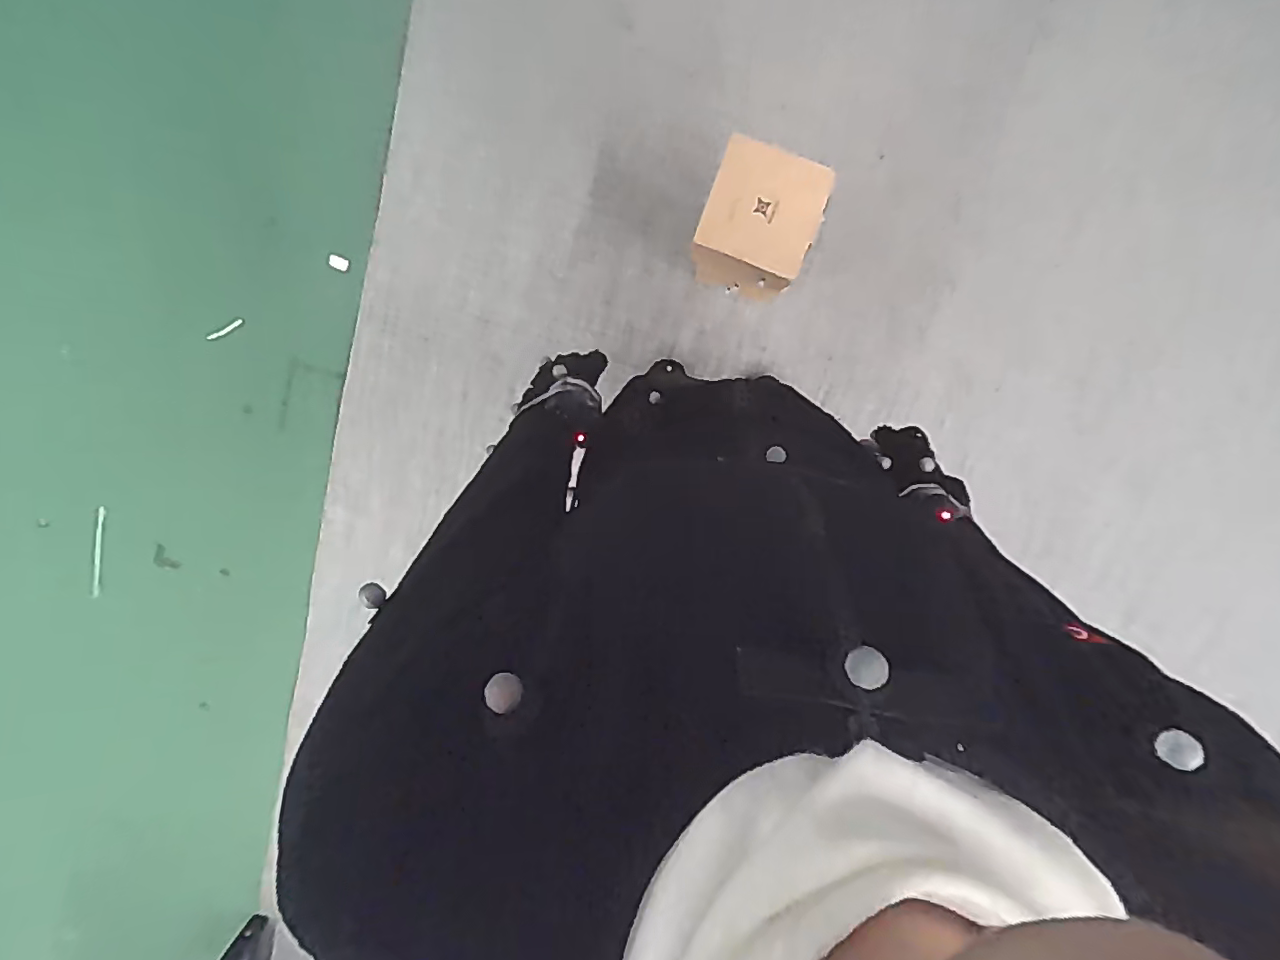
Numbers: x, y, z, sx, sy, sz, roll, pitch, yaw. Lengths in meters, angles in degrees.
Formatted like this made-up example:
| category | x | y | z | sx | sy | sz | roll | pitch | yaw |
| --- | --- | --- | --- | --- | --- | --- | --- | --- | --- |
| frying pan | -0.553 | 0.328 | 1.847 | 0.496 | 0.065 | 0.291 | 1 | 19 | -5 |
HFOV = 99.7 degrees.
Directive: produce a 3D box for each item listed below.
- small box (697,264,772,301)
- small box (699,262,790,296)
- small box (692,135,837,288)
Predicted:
| category | x | y | z | sx | sy | sz | roll | pitch | yaw |
| --- | --- | --- | --- | --- | --- | --- | --- | --- | --- |
| small box | 0.240 | -0.515 | 1.218 | 0.179 | 0.176 | 0.168 | 23 | 103 | -1 |
| small box | 0.226 | -0.471 | 1.063 | 0.179 | 0.176 | 0.168 | 21 | 105 | 0 |
| small box | 0.198 | -0.434 | 0.907 | 0.179 | 0.176 | 0.168 | 21 | 104 | 2 |
